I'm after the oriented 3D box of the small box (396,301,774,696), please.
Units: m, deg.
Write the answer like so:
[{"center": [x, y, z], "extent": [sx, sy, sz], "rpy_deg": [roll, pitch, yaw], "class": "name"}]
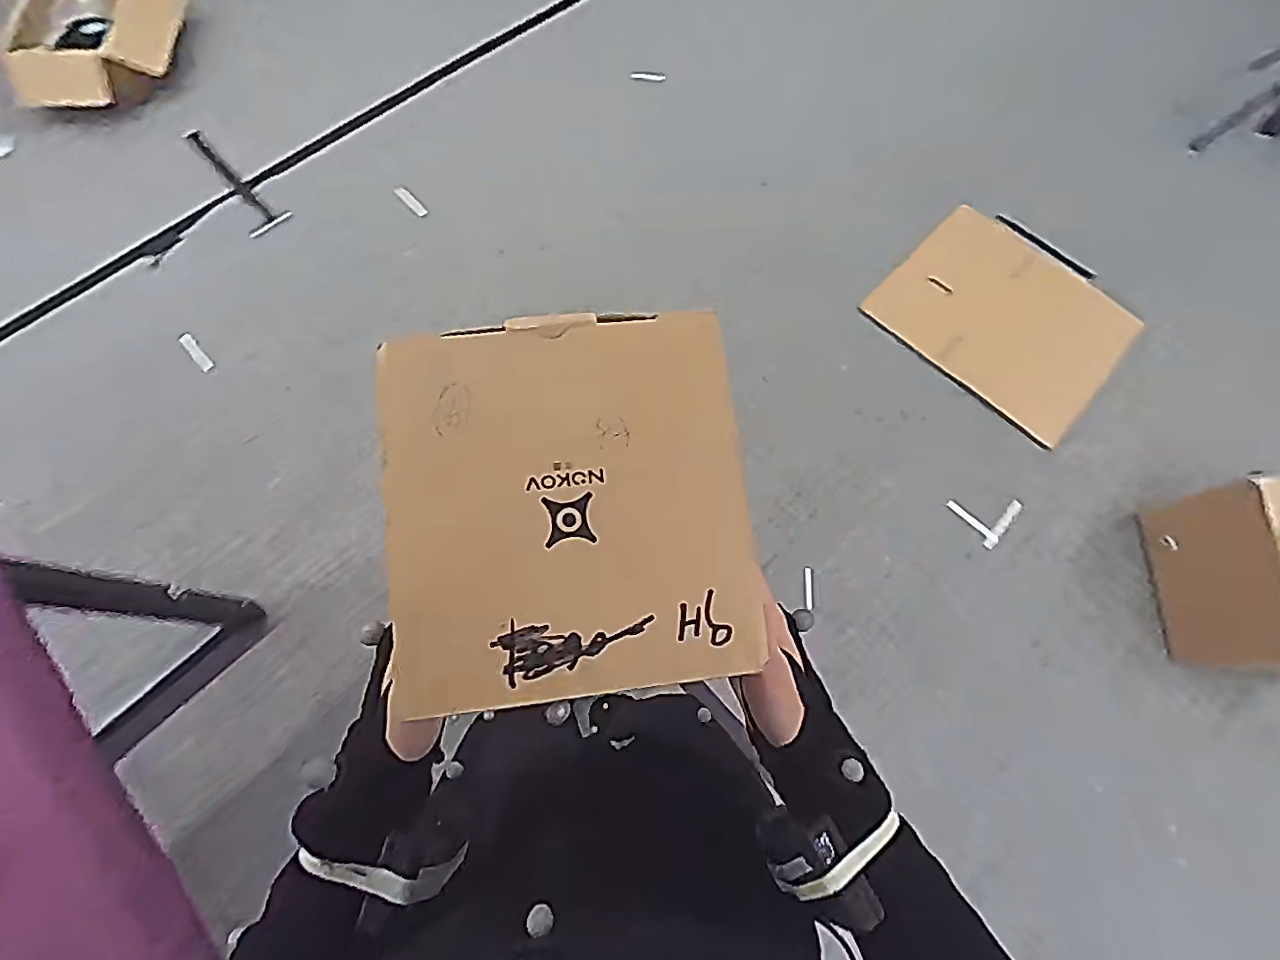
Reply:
[{"center": [-0.032, 0.015, 0.330], "extent": [0.168, 0.176, 0.179], "rpy_deg": [-6, 81, -3], "class": "small box"}]
